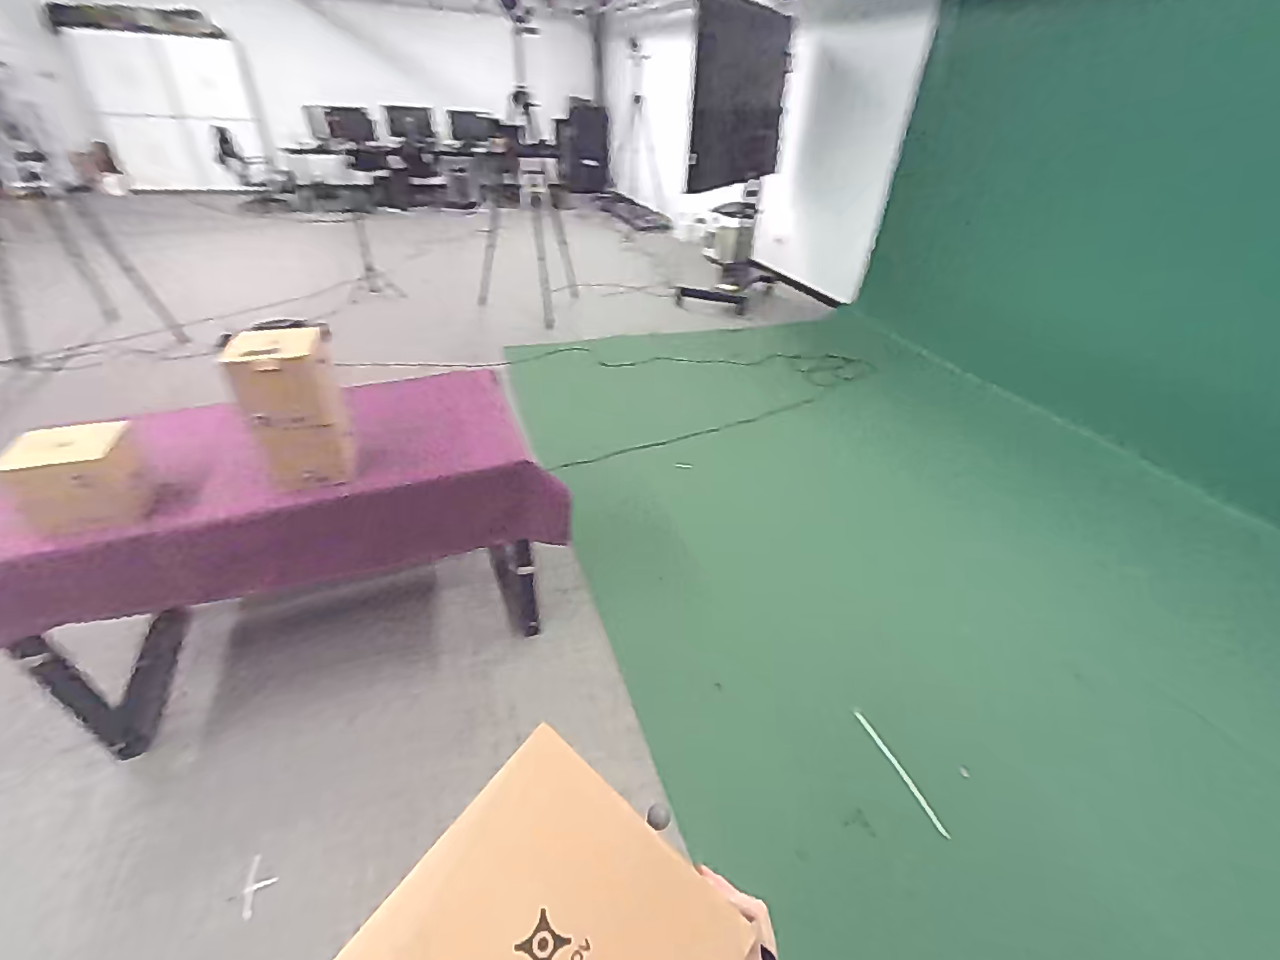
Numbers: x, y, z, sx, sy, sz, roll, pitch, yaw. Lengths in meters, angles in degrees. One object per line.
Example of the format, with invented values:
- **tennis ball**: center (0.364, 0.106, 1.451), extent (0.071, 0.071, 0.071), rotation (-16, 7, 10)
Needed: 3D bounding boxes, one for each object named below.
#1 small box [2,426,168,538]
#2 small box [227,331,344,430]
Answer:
- **small box**: center (-1.184, 0.003, 1.177), extent (0.179, 0.176, 0.168), rotation (-11, 37, -18)
- **small box**: center (-0.793, -0.222, 1.232), extent (0.168, 0.176, 0.179), rotation (-9, 36, -15)
